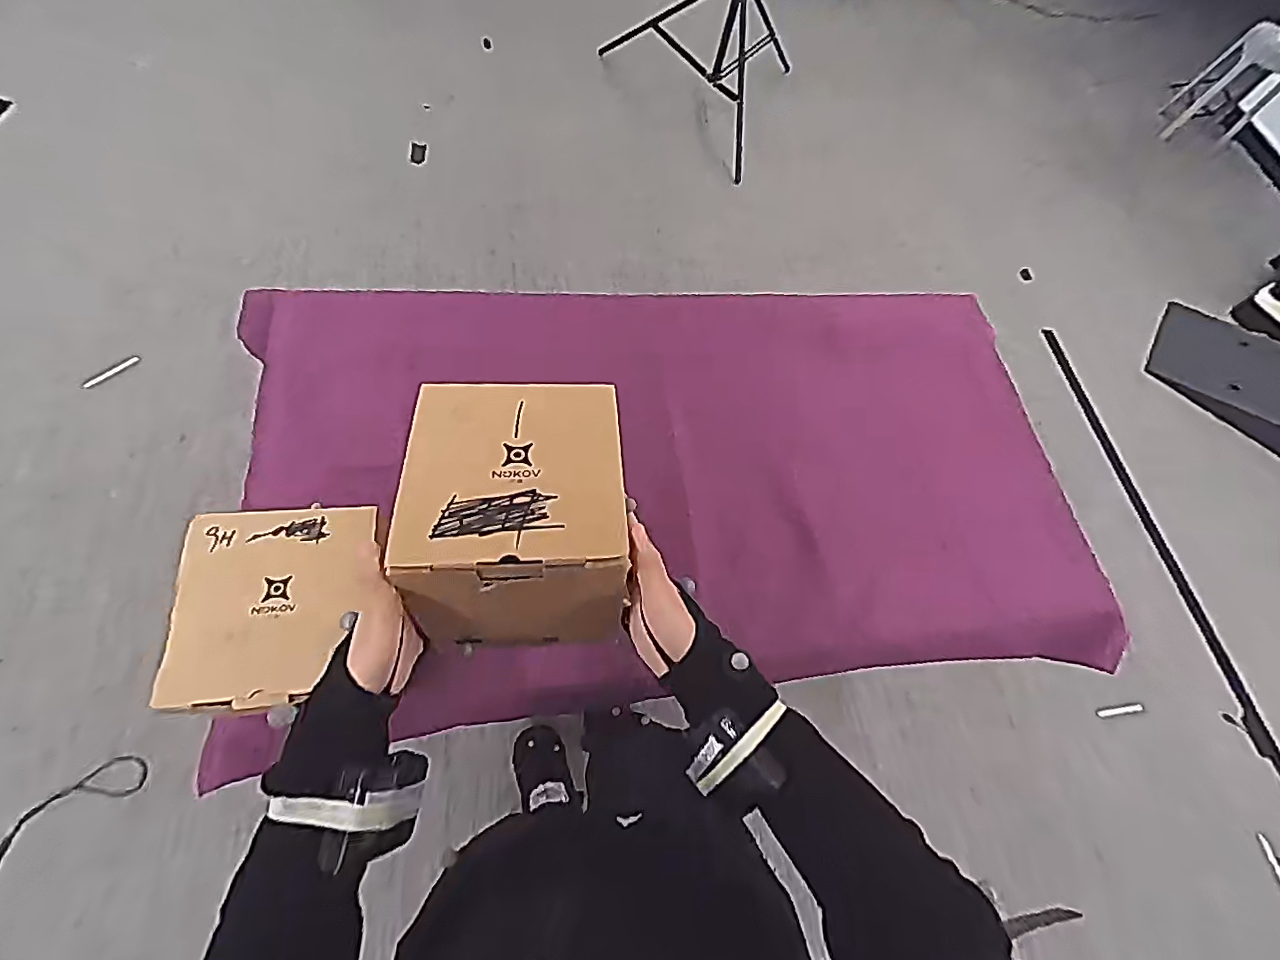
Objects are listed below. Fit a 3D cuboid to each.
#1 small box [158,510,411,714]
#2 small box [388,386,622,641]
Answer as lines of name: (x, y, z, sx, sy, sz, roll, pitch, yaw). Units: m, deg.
small box: (-0.346, 0.143, 0.570, 0.168, 0.176, 0.179, -2, 67, -11)
small box: (-0.104, 0.036, 0.487, 0.168, 0.176, 0.179, -1, 53, -7)
